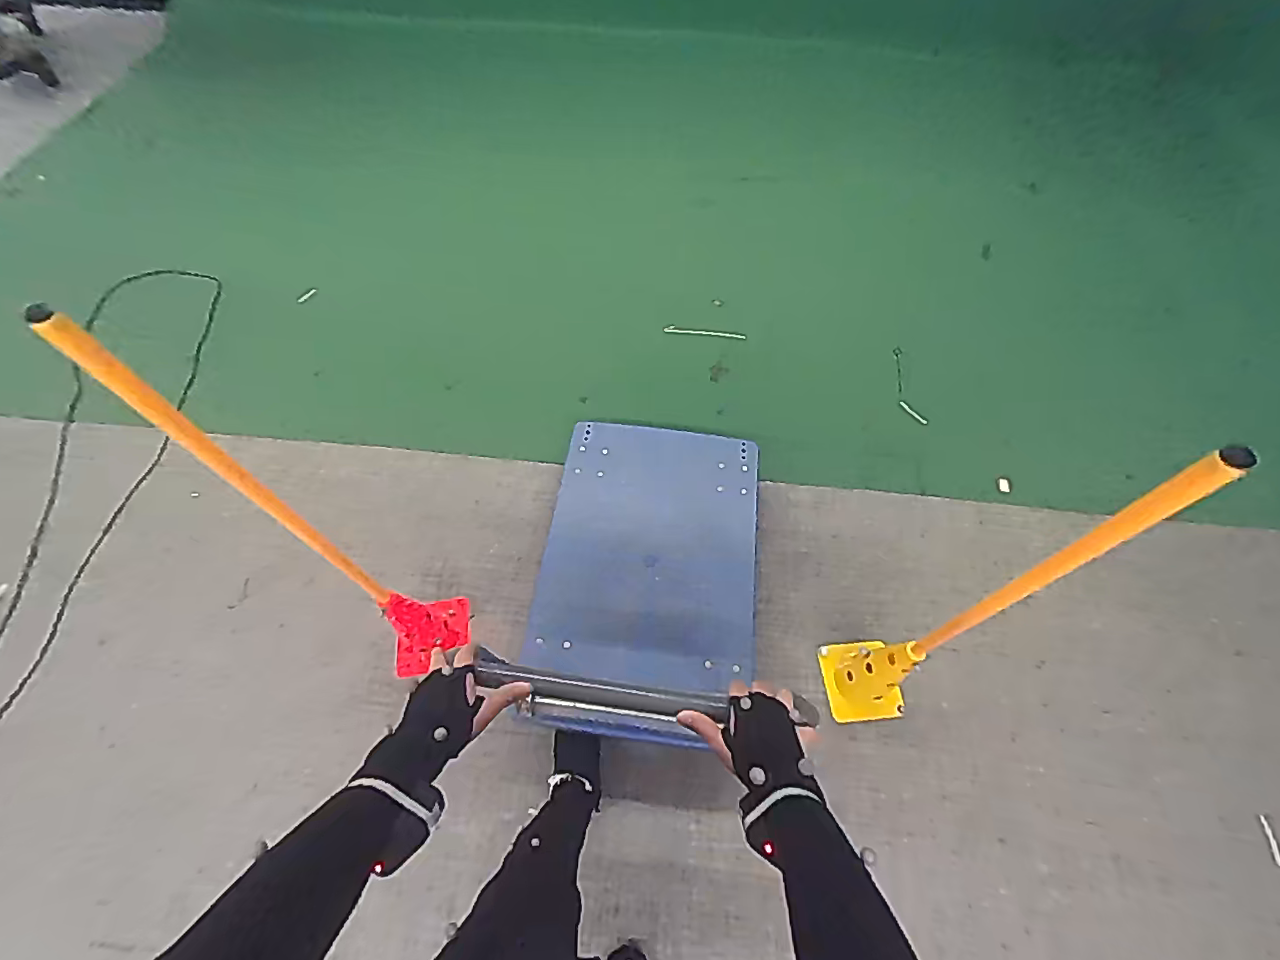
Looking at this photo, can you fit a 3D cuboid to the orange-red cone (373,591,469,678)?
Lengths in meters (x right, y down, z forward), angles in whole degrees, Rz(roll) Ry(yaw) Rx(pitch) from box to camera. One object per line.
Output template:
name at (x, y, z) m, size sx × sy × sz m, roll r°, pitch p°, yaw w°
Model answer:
orange-red cone at (-0.584, 0.357, 1.367) m, size 0.199 × 0.360 × 0.198 m, roll -8°, pitch 60°, yaw -4°
